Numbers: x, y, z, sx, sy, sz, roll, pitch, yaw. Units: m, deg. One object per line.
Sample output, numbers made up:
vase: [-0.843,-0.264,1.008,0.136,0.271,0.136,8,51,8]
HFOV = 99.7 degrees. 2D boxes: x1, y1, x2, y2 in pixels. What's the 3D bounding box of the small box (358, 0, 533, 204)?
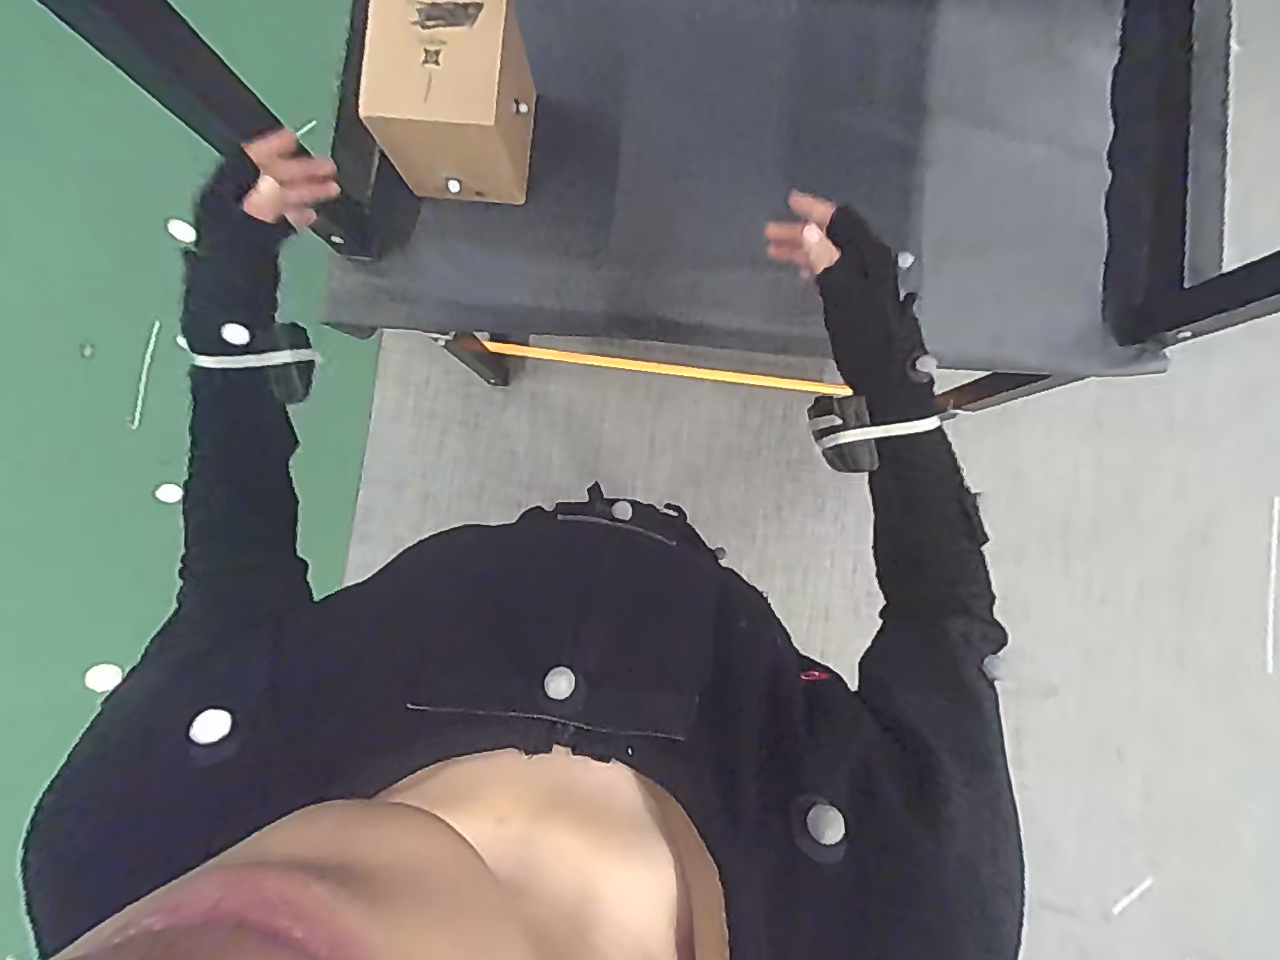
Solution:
small box: [-0.243,-0.502,0.718,0.168,0.176,0.179,4,87,1]
